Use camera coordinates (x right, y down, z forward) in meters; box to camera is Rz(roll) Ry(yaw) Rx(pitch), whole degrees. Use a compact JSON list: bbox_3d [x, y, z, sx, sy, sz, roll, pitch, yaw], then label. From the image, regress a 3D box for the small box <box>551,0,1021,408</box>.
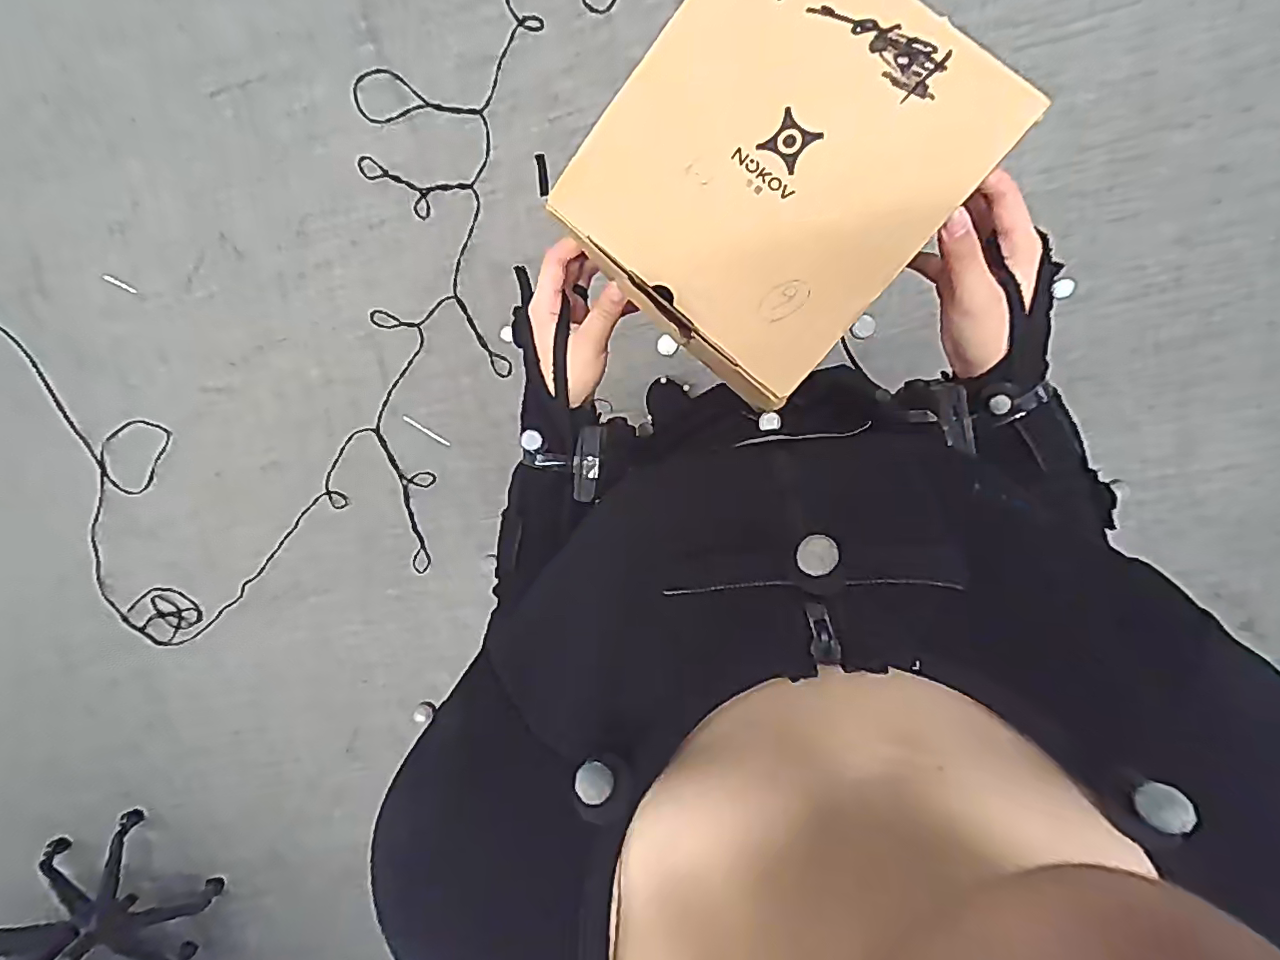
[{"bbox_3d":[0.080,-0.160,0.350,0.168,0.176,0.179,42,101,5],"label":"small box"}]
